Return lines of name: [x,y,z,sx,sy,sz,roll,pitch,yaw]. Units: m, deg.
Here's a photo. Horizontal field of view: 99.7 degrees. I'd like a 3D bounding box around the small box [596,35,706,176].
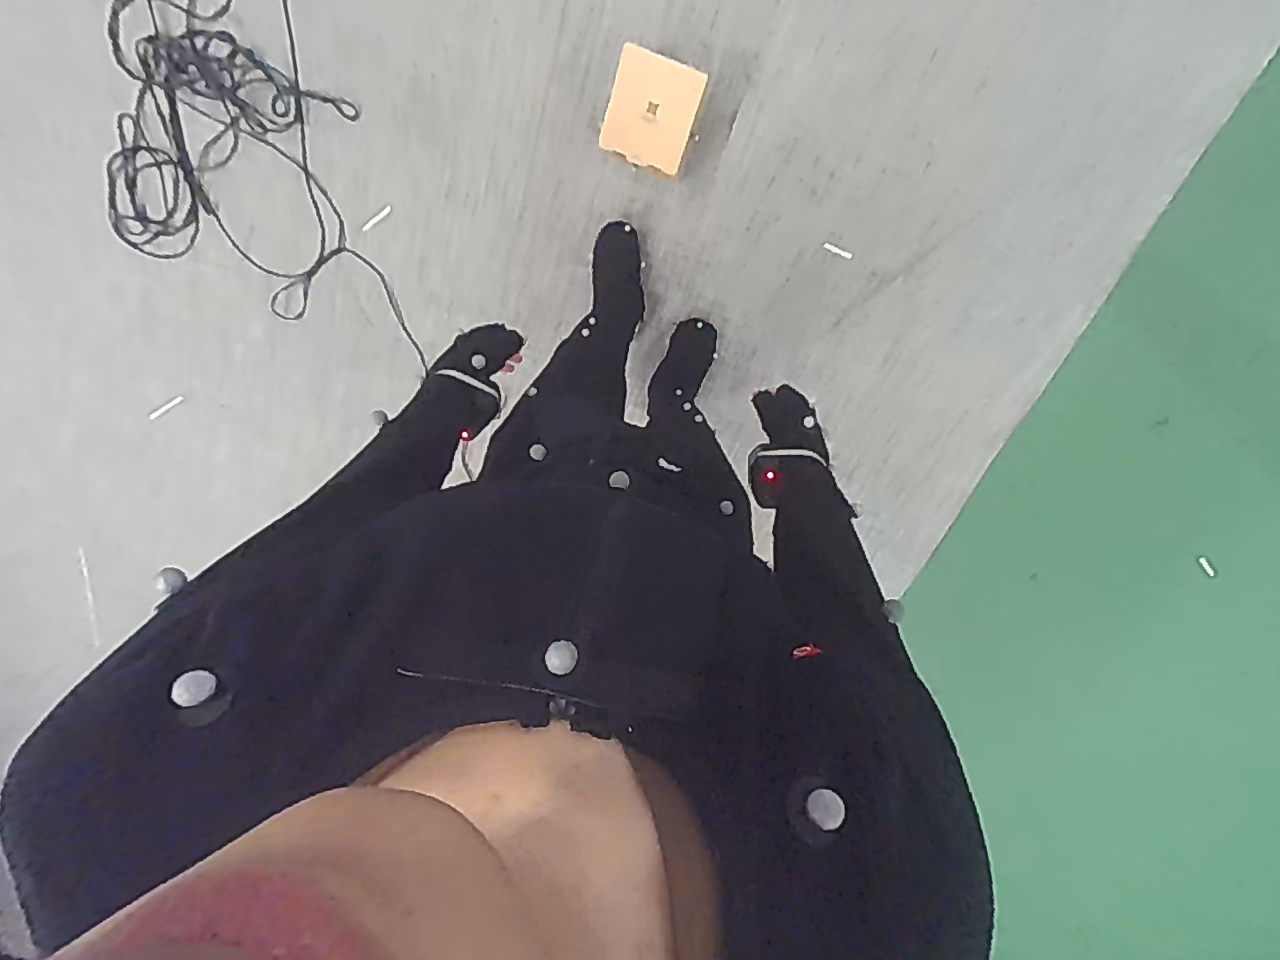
small box: [0.023,-0.740,1.091,0.168,0.176,0.179,20,115,-3]
